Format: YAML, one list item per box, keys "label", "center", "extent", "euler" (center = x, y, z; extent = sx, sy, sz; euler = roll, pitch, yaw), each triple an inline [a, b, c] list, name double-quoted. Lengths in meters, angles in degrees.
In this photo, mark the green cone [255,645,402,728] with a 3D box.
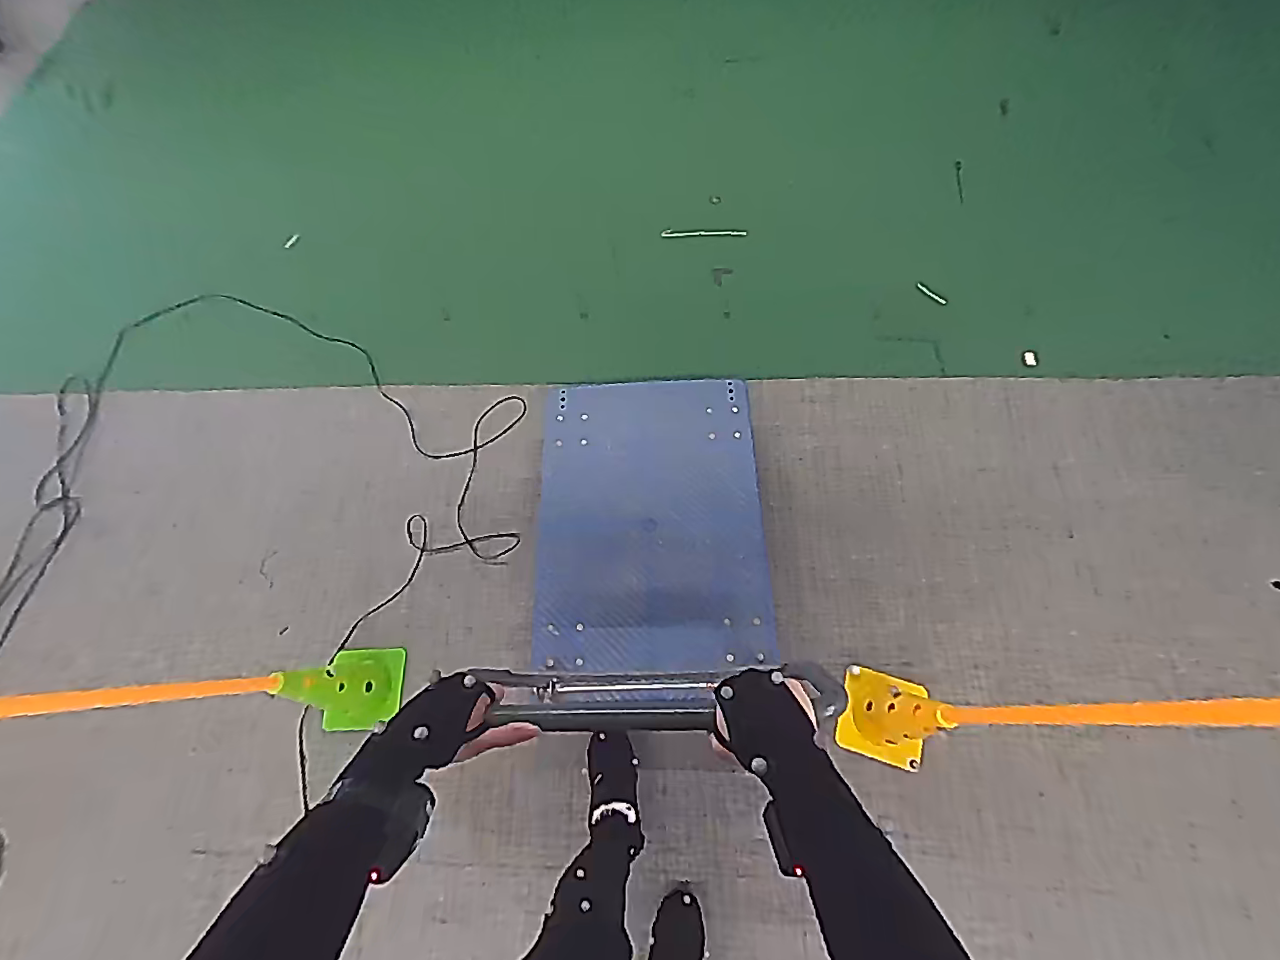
- label: "green cone"
  center: [-0.745, 0.472, 1.263]
  extent: [0.202, 0.368, 0.200]
  euler: [-4, 66, 4]
